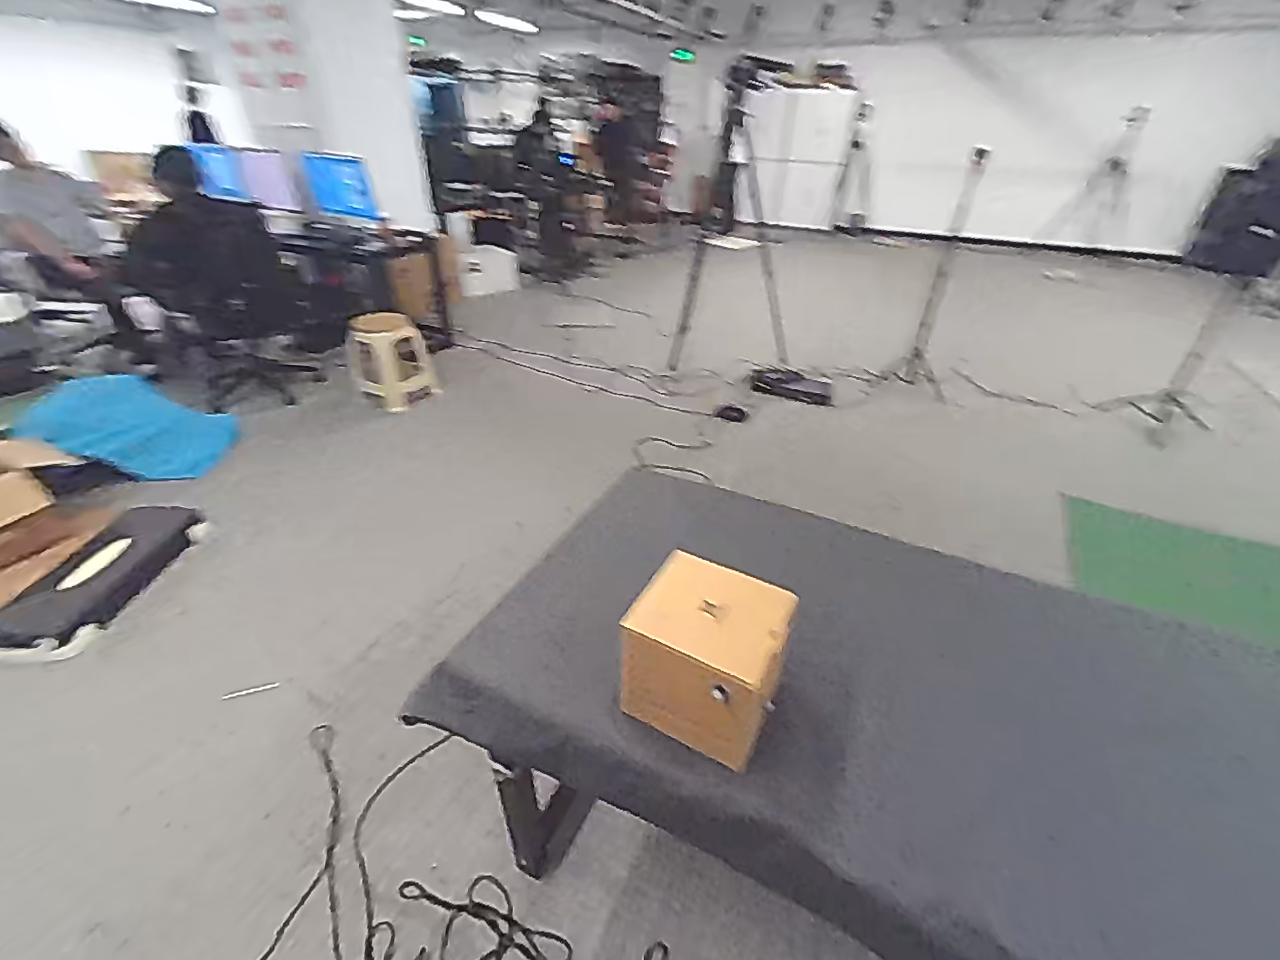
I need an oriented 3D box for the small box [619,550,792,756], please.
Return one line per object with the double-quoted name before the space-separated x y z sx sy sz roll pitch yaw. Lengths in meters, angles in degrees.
"small box" 0.084 0.227 0.722 0.179 0.176 0.168 18 35 23
